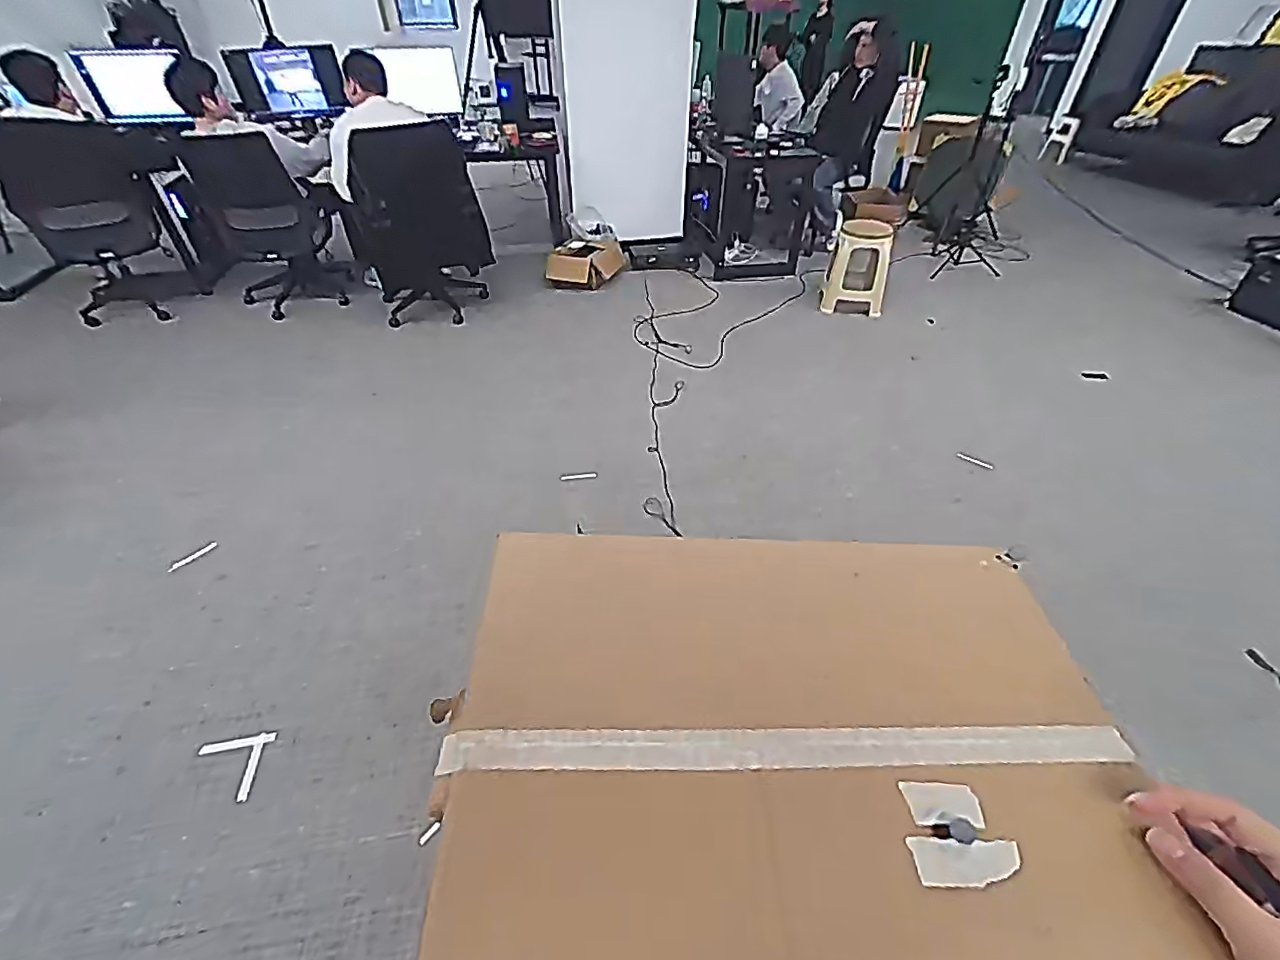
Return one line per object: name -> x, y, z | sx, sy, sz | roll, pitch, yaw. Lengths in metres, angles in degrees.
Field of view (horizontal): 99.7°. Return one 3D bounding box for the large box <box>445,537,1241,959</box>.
large box -> 0.086, 0.264, 0.434 | 0.408, 0.320, 0.320 | 3, 46, -6
